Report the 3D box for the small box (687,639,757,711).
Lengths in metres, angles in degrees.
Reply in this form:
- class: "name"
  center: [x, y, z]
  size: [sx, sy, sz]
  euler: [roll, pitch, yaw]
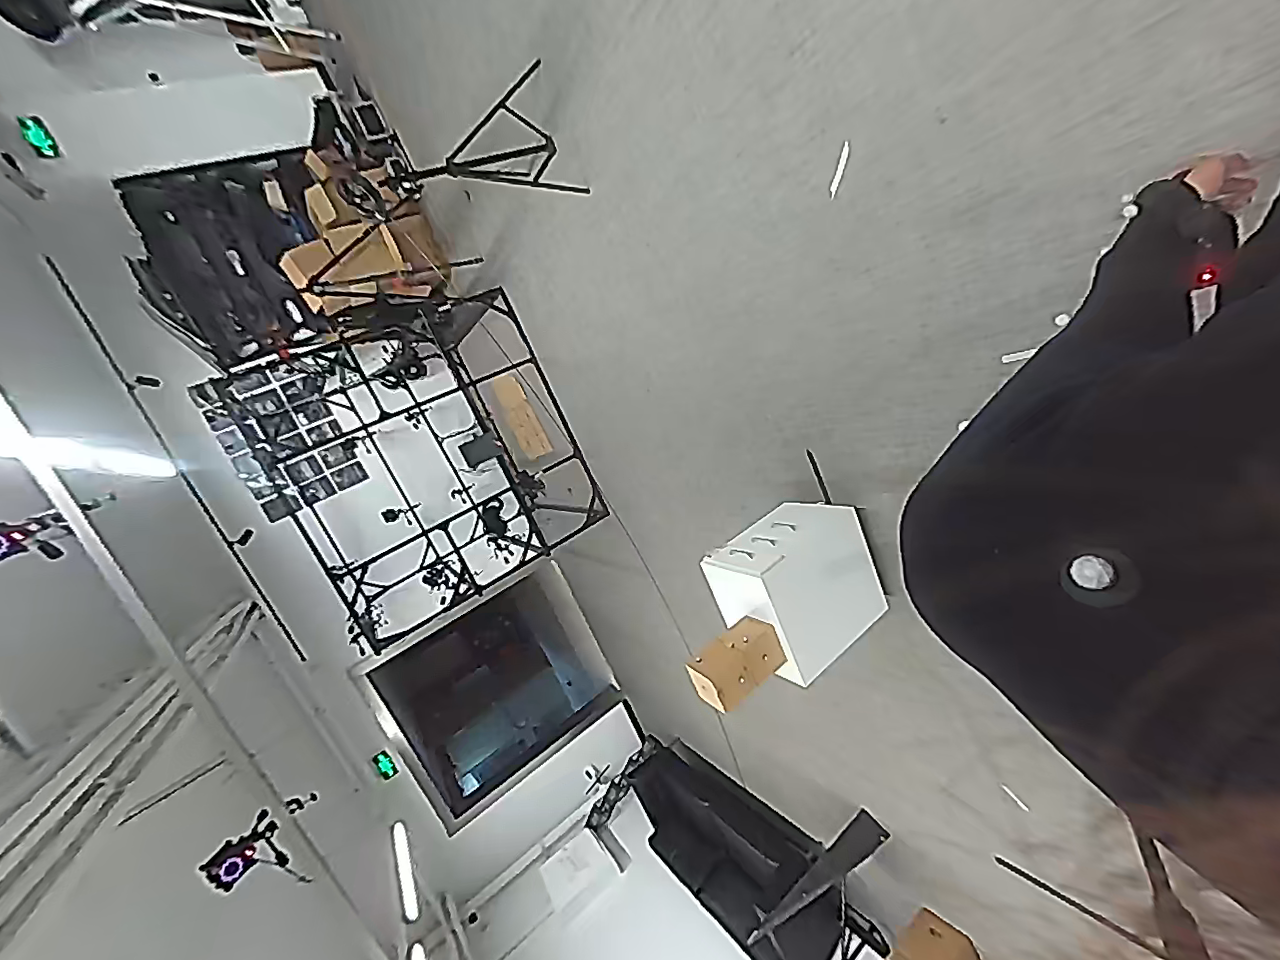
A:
- class: "small box"
  center: [0.316, 0.738, 2.069]
  size: [0.179, 0.176, 0.168]
  euler: [7, 124, 61]
